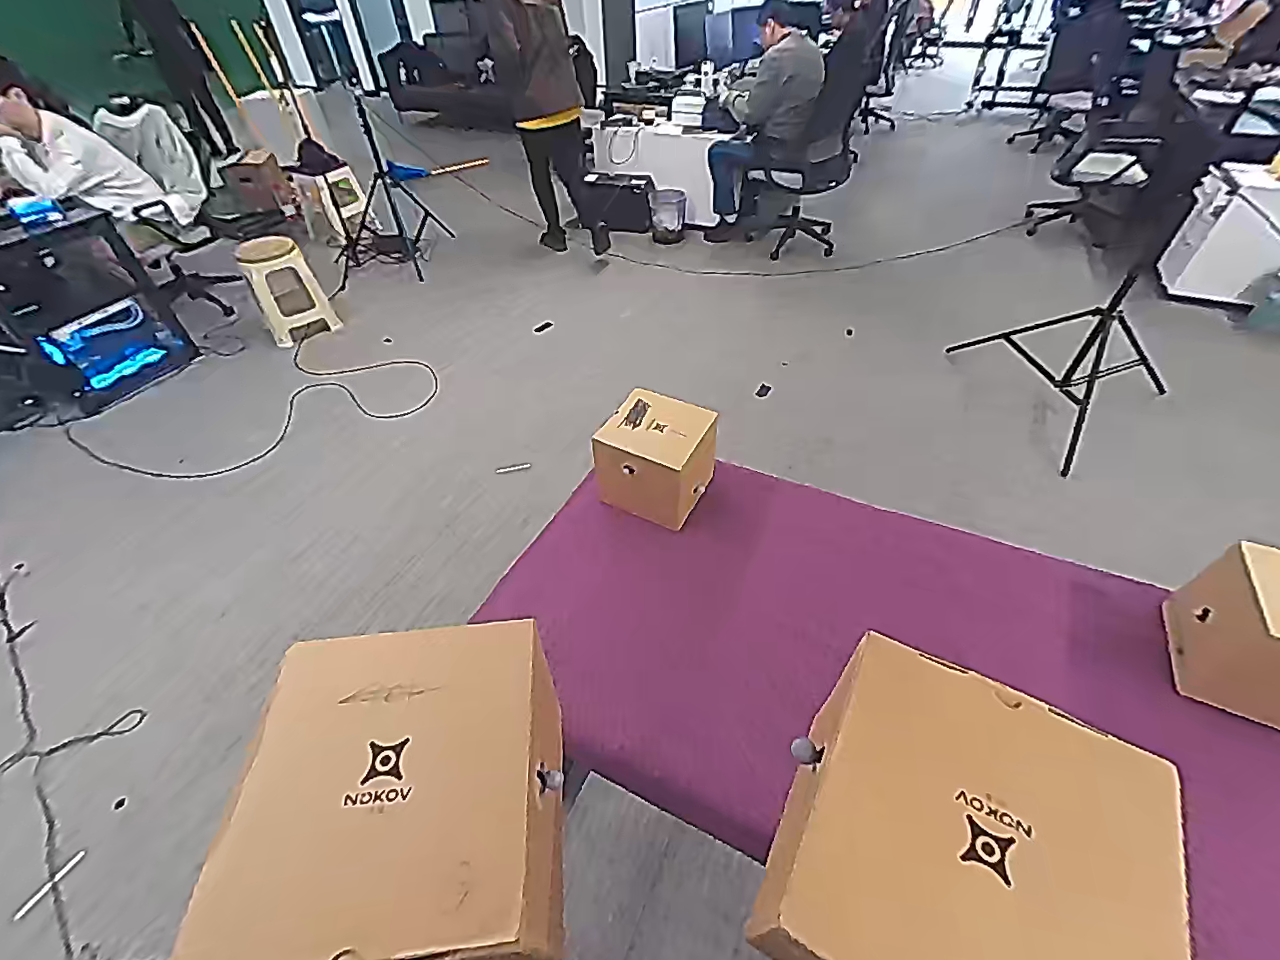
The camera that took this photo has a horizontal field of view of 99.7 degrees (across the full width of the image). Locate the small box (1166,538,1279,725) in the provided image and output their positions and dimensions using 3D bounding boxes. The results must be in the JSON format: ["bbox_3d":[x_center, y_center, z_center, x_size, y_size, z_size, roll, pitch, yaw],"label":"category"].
[{"bbox_3d":[0.869,0.214,0.734,0.179,0.176,0.168,19,49,19],"label":"small box"}]

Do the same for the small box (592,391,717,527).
[{"bbox_3d":[0.030,-0.038,1.025,0.179,0.176,0.168,21,51,20],"label":"small box"}]

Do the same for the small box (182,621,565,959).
[{"bbox_3d":[-0.141,0.222,0.368,0.168,0.176,0.179,-5,45,-5],"label":"small box"}]

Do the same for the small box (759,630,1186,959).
[{"bbox_3d":[0.182,0.236,0.337,0.168,0.176,0.179,21,51,21],"label":"small box"}]
